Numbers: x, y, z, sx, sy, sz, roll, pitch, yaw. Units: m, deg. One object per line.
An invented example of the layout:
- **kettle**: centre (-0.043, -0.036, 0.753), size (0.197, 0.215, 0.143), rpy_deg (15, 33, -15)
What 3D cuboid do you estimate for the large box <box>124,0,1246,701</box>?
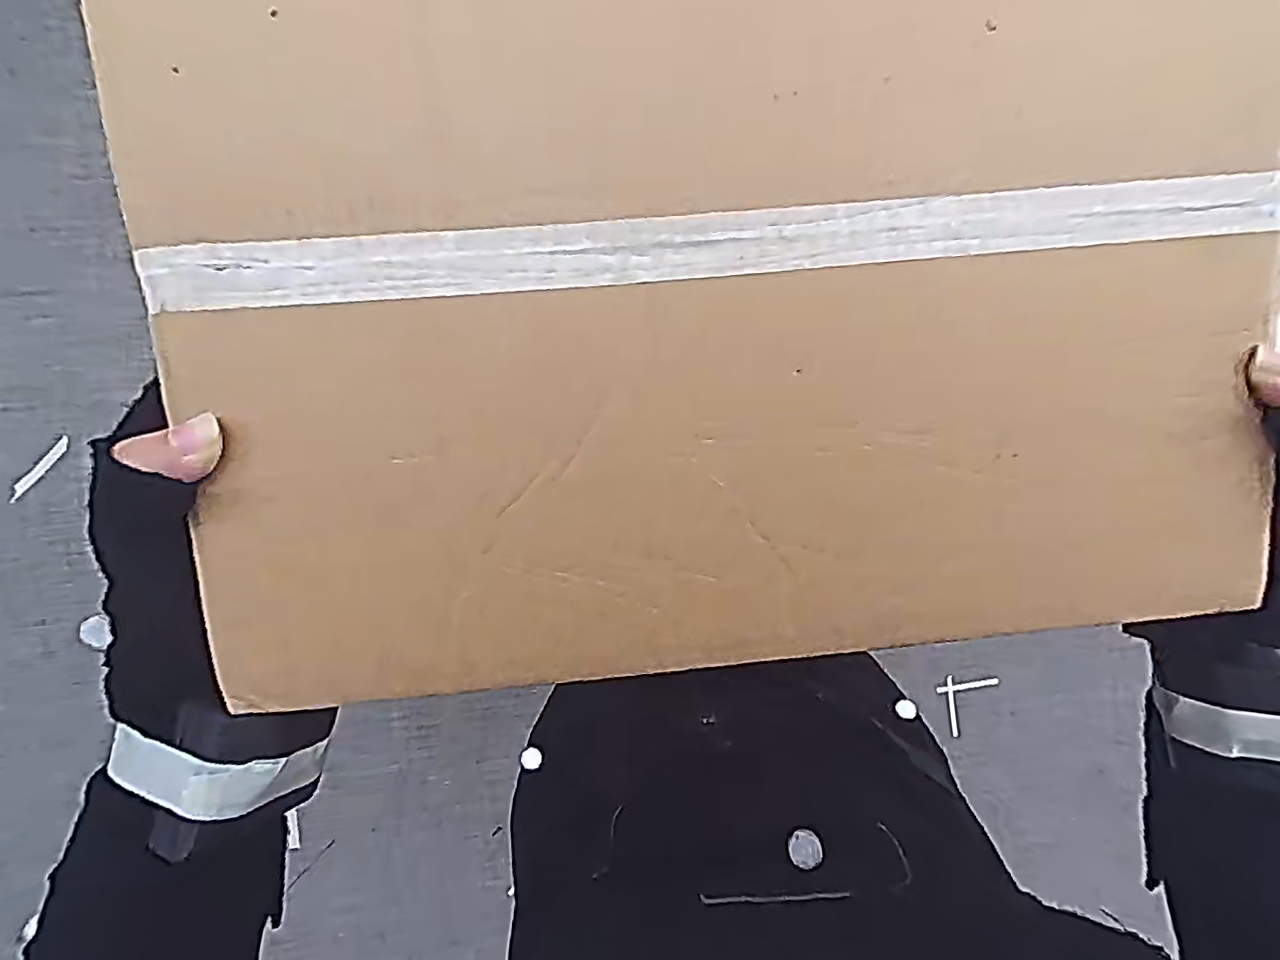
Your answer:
- **large box**: centre (0.026, -0.102, 0.351), size (0.408, 0.320, 0.320), rpy_deg (-5, 97, -3)
